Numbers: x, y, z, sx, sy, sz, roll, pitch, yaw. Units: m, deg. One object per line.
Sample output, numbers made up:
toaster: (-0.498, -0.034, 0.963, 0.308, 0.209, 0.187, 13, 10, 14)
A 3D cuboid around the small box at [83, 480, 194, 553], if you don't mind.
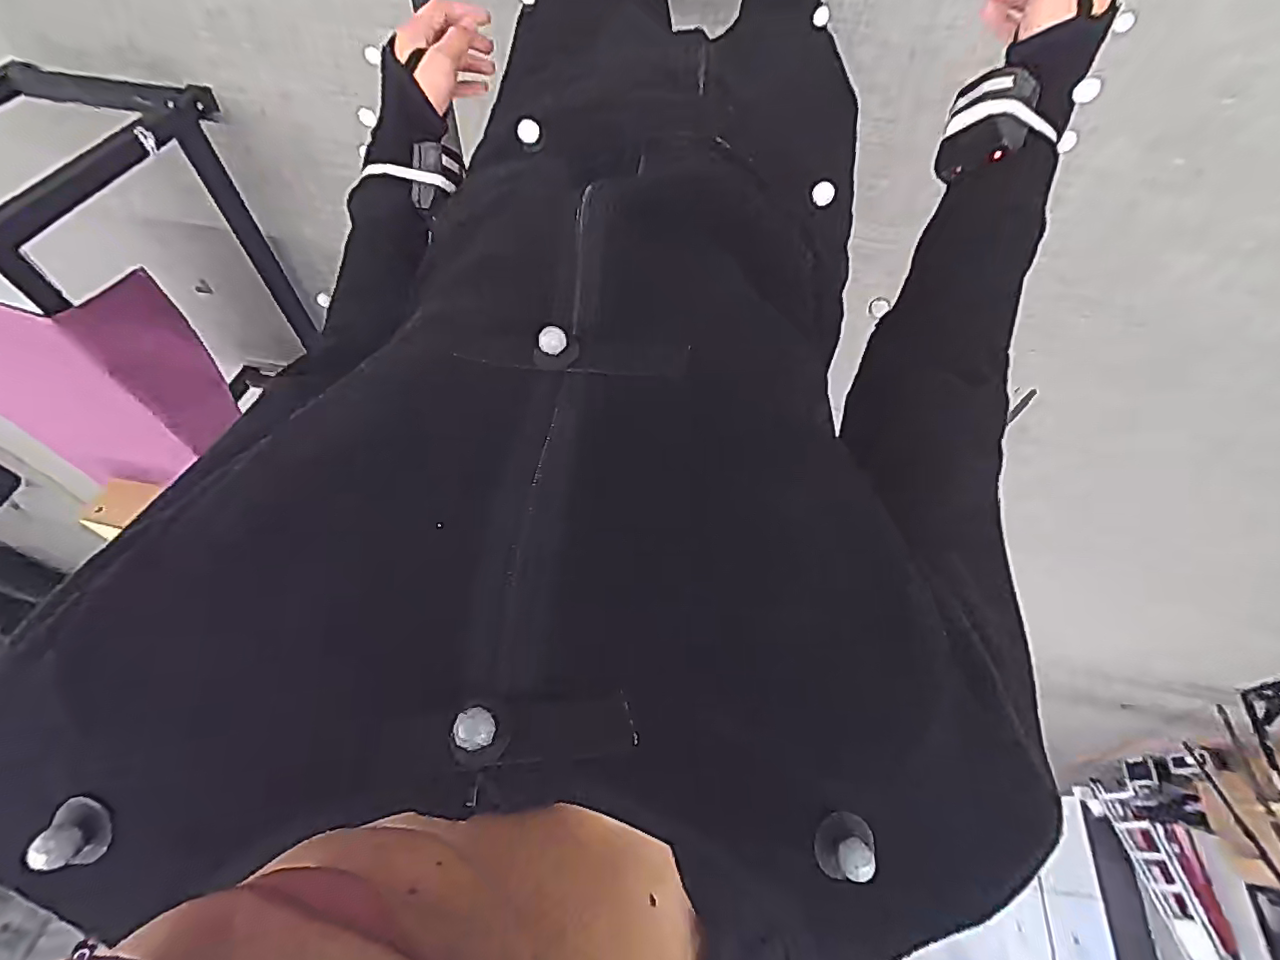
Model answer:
small box: (-1.677, 0.120, 1.821, 0.179, 0.176, 0.168, 11, 147, 2)
